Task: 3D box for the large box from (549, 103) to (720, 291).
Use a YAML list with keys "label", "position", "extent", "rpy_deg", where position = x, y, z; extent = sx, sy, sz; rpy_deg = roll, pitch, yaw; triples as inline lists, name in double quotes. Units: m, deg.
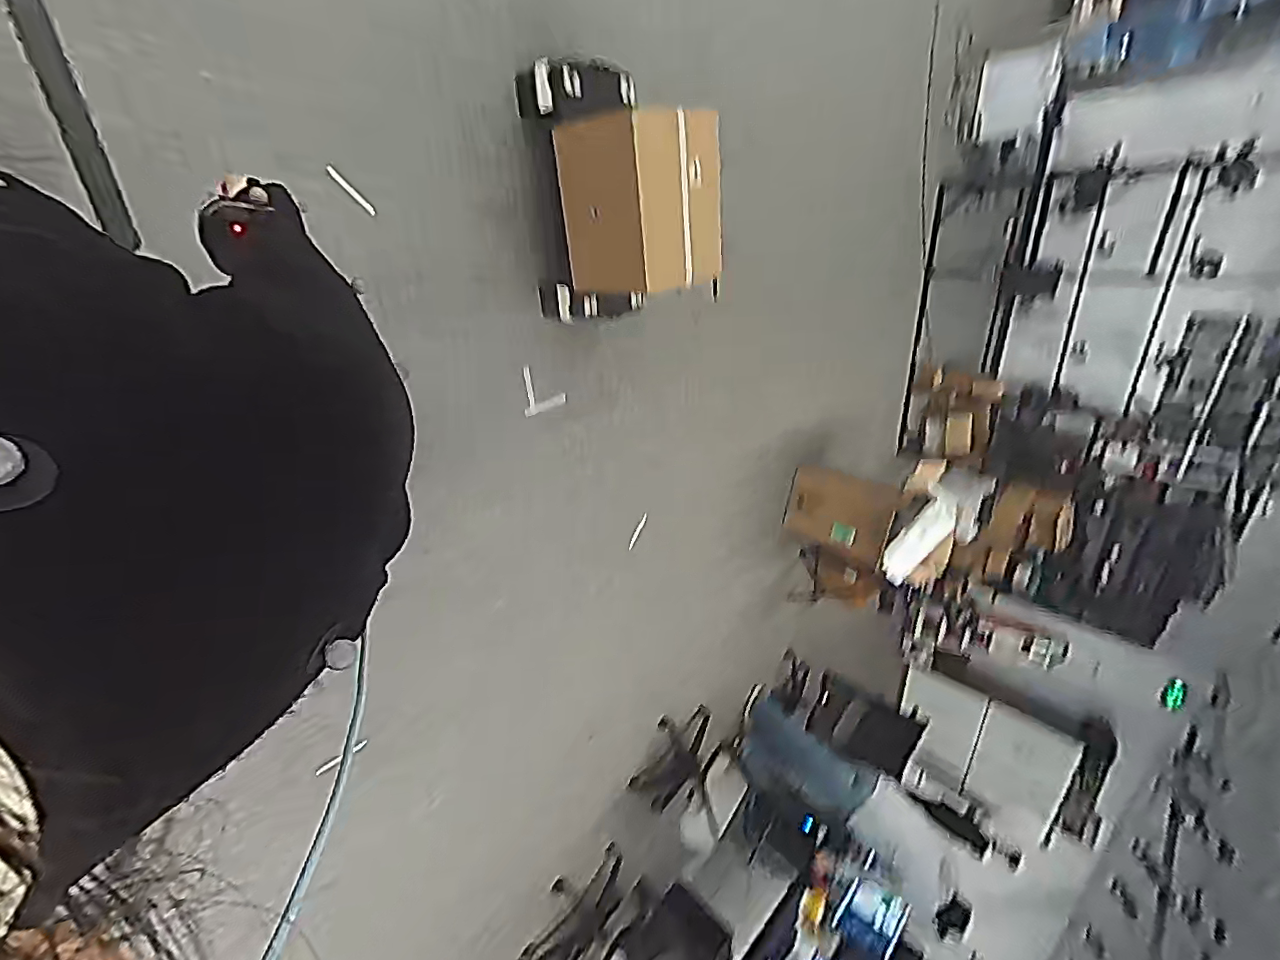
- label: "large box"
  position: [-0.006, -0.752, 1.469]
  extent: [0.320, 0.320, 0.408]
  rpy_deg: [-30, 125, -37]
